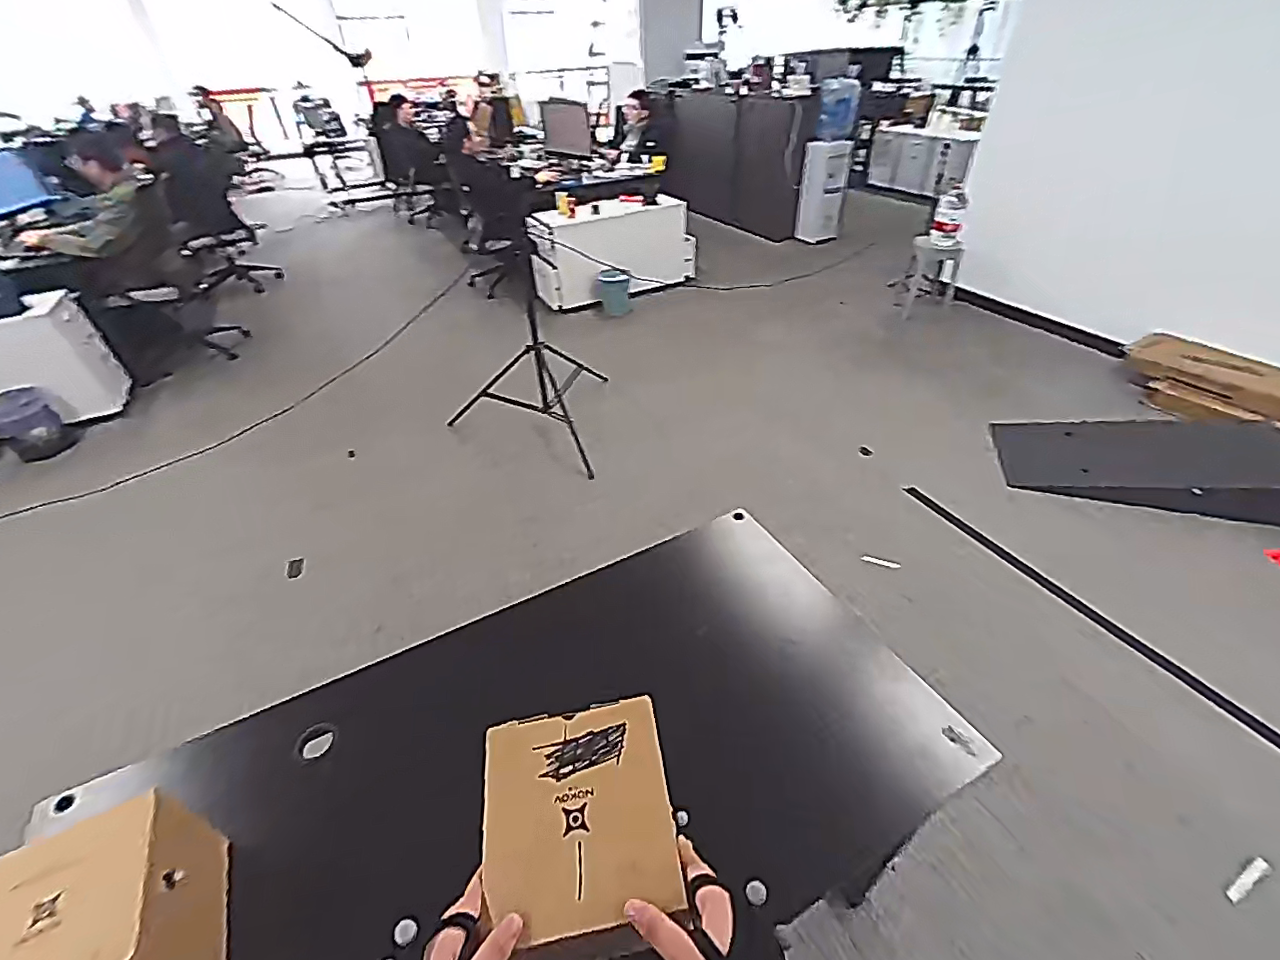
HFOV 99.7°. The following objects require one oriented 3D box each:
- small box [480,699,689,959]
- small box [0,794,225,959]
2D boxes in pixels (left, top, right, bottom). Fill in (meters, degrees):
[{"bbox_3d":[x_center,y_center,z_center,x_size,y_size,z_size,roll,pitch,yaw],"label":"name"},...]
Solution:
[{"bbox_3d":[-0.049,0.349,0.535,0.168,0.176,0.179,-10,44,-3],"label":"small box"},{"bbox_3d":[-0.575,0.488,0.574,0.168,0.176,0.179,-20,42,-23],"label":"small box"}]
